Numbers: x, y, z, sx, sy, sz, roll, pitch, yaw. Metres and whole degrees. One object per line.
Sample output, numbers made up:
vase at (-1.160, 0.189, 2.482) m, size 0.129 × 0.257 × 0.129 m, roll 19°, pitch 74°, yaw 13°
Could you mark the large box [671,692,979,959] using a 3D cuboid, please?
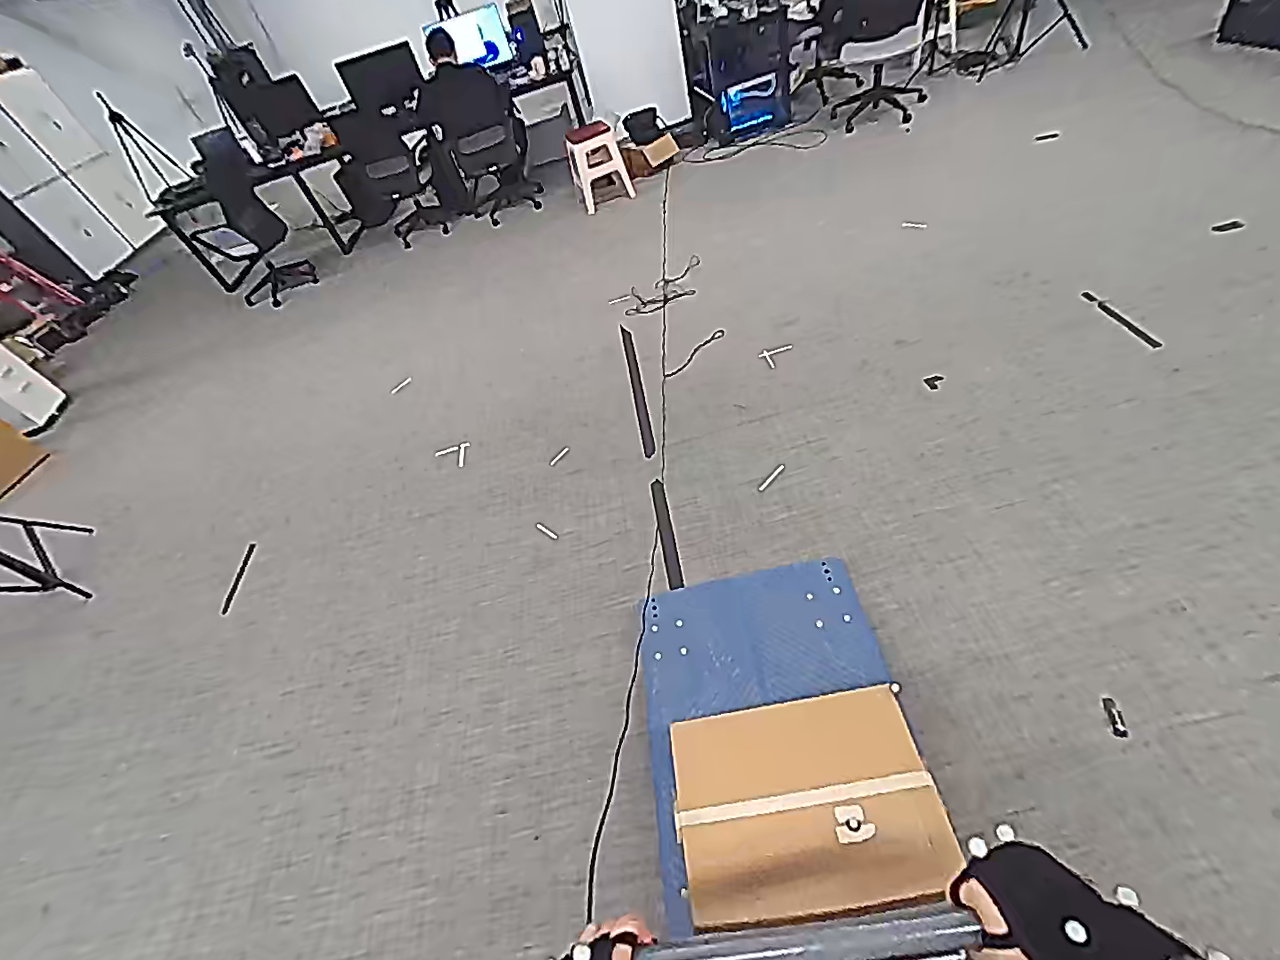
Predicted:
large box at (0.296, 0.627, 0.967) m, size 0.408 × 0.320 × 0.320 m, roll -13°, pitch 45°, yaw 6°
